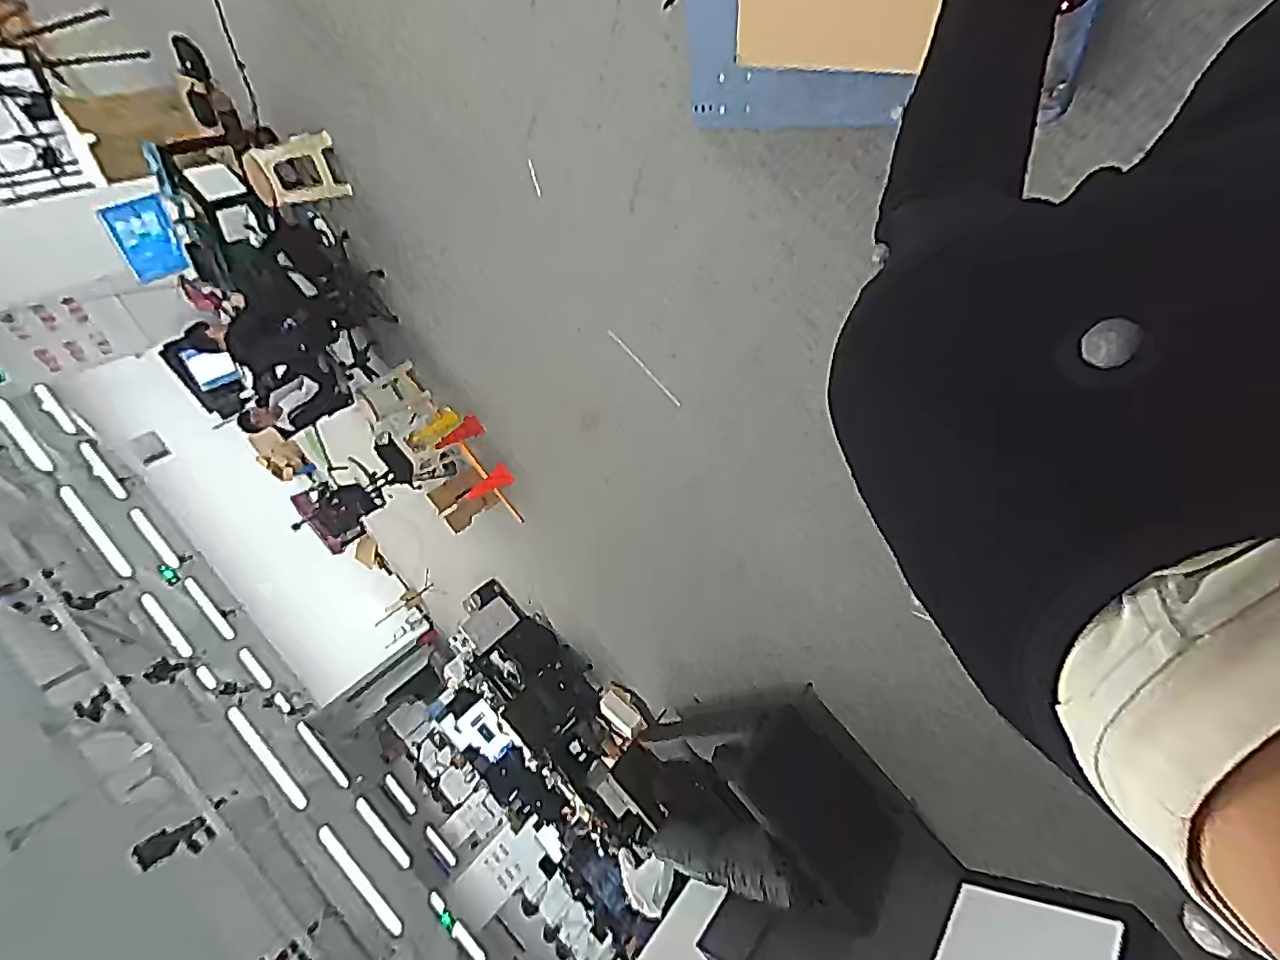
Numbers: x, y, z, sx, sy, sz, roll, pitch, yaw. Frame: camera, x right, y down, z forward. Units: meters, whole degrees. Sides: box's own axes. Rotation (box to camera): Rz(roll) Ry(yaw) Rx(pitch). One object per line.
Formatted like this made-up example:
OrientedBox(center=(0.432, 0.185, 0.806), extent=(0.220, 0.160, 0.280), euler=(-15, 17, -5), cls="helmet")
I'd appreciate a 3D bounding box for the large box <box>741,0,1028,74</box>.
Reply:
OrientedBox(center=(0.431, -0.908, 0.917), extent=(0.408, 0.320, 0.320), euler=(29, 142, 31), cls="large box")
